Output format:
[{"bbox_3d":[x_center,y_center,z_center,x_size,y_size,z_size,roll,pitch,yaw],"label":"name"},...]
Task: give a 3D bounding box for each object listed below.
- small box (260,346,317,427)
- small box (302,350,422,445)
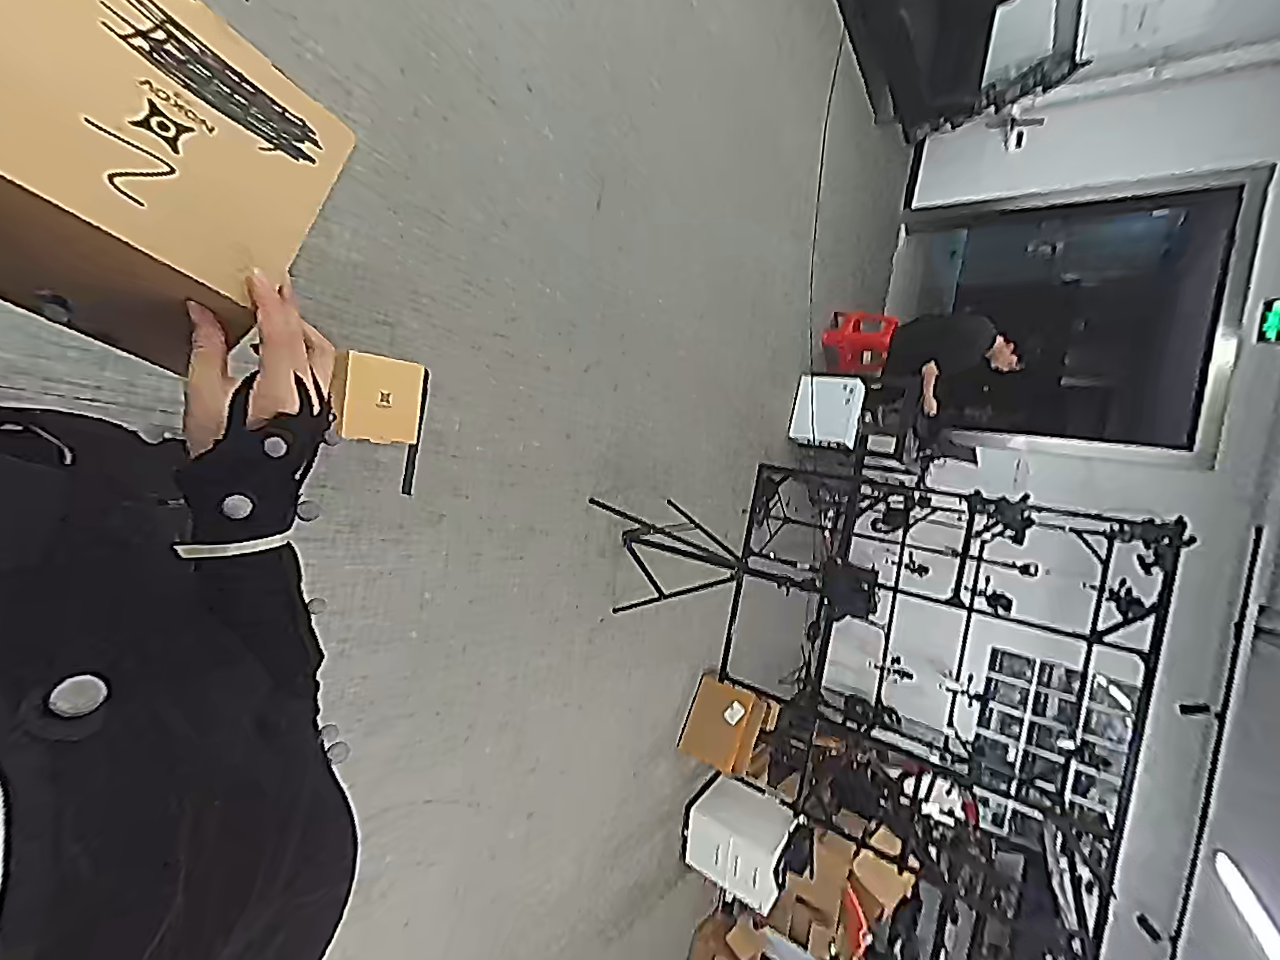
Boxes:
[{"bbox_3d":[-0.735,-0.200,1.244,0.179,0.176,0.168,14,87,-56],"label":"small box"},{"bbox_3d":[-0.597,-0.177,1.159,0.168,0.176,0.179,1,99,-56],"label":"small box"}]
